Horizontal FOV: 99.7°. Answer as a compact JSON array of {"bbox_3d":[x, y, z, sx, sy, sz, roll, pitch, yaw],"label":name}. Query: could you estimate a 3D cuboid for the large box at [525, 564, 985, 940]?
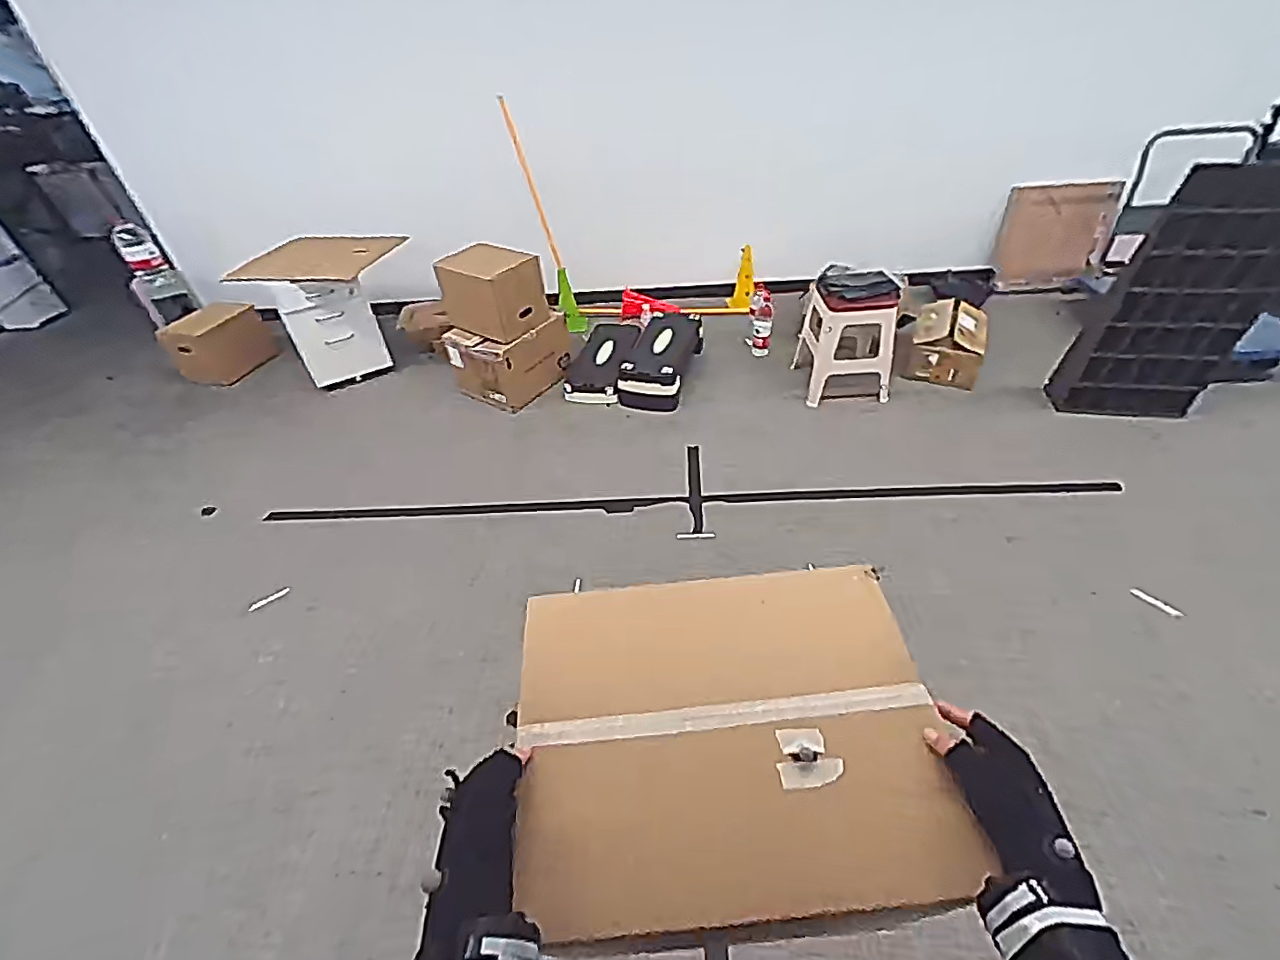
[{"bbox_3d":[0.092,0.334,0.662,0.408,0.320,0.320,-5,48,-1],"label":"large box"}]
